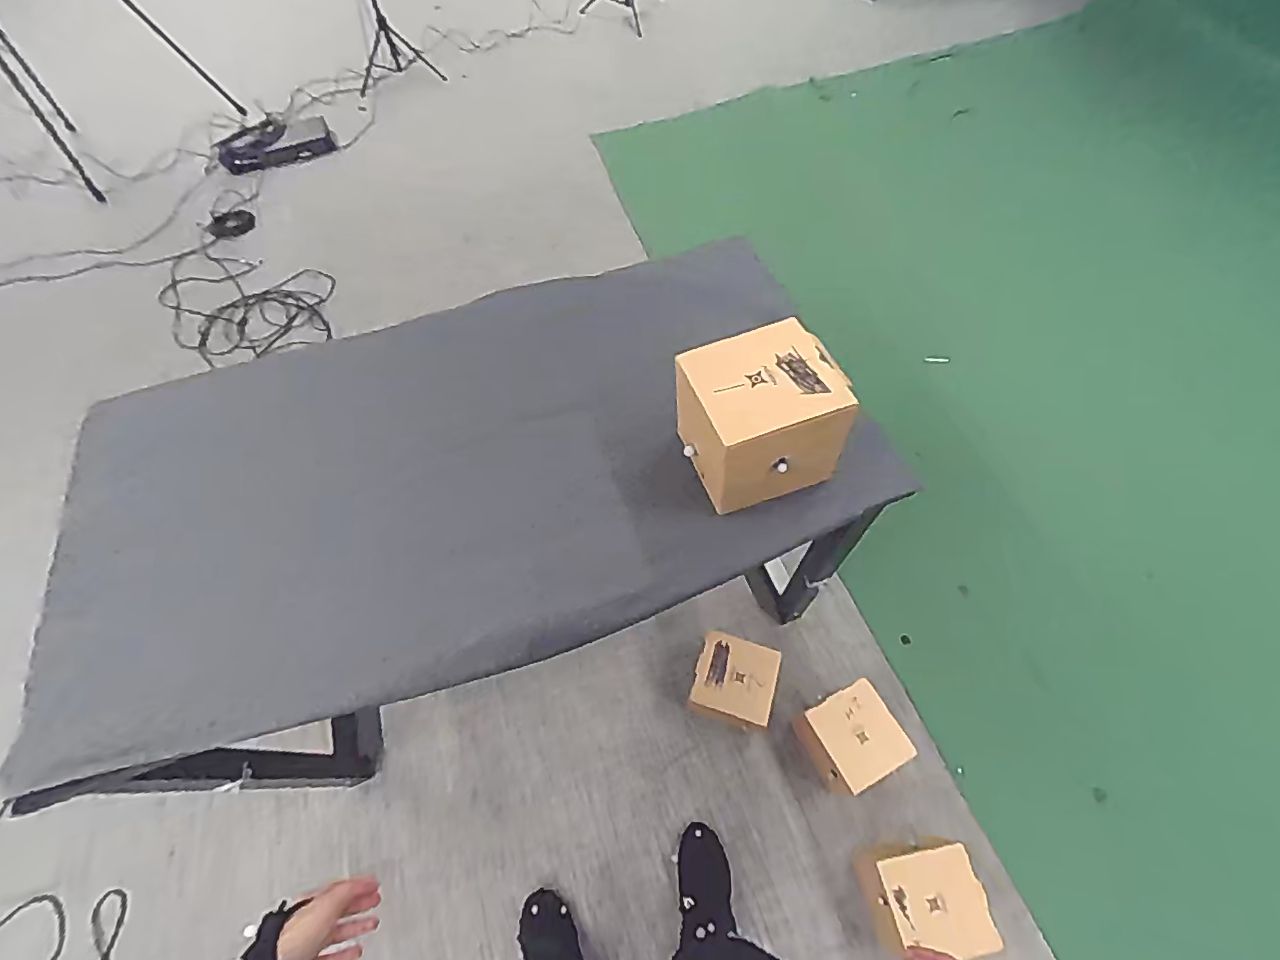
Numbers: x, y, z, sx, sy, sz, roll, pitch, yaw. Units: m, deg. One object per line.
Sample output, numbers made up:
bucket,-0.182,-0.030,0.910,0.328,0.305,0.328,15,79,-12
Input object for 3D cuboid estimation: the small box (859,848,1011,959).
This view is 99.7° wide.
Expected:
small box,0.557,0.832,1.045,0.179,0.176,0.168,-11,61,-2

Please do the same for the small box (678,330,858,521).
small box,0.161,-0.069,0.741,0.179,0.176,0.168,-19,57,-5

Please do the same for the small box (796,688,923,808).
small box,0.470,0.588,1.190,0.168,0.176,0.179,-25,62,-11
